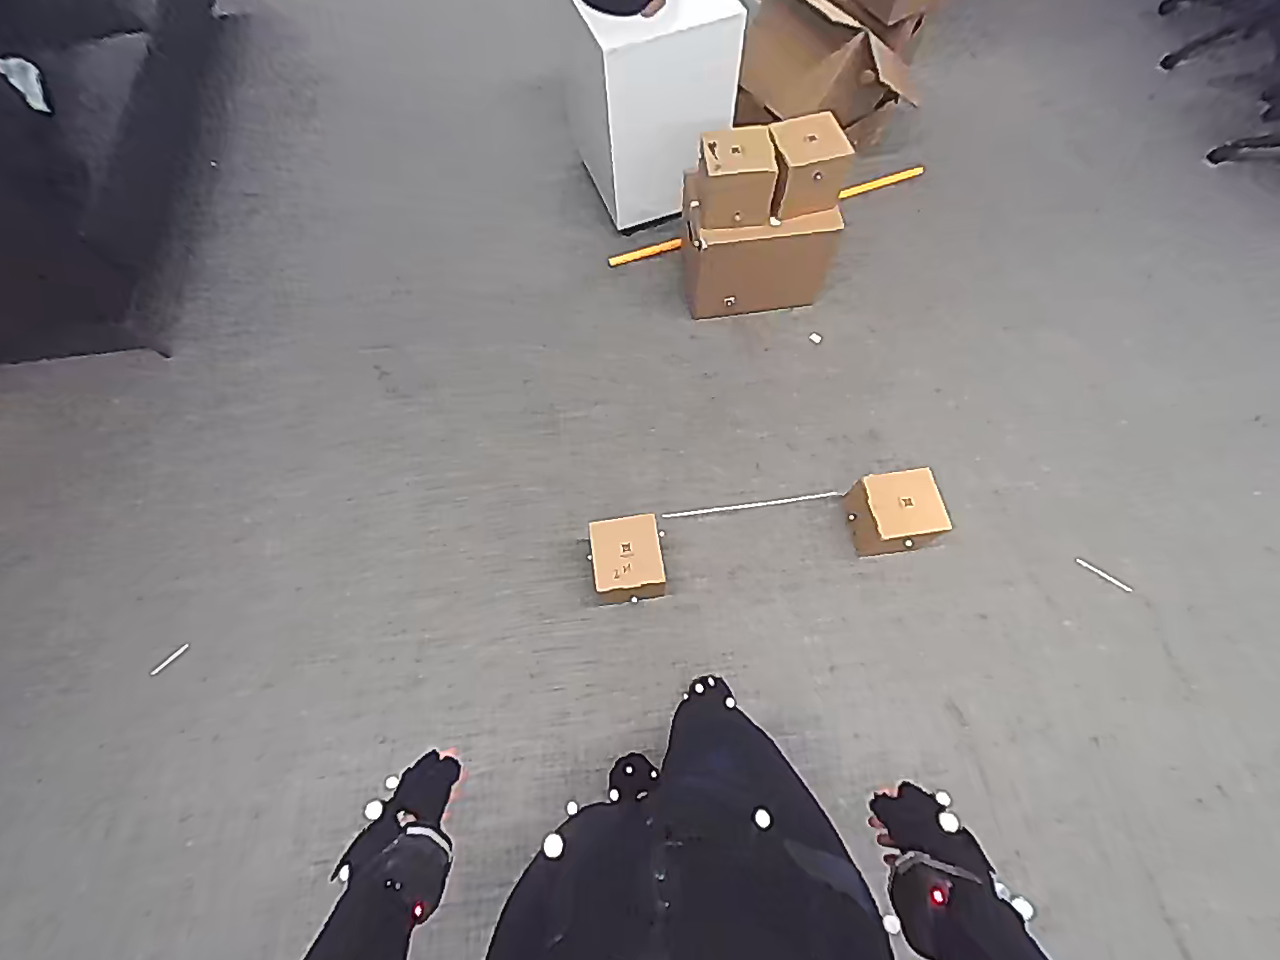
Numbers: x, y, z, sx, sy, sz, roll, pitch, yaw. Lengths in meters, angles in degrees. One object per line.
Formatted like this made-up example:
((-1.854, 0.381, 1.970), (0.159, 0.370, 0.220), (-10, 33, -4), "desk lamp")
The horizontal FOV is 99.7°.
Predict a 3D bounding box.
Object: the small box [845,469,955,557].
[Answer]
((0.650, 0.088, 1.373), (0.179, 0.176, 0.168), (-9, 68, -1), "small box")

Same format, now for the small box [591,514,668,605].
((-0.026, 0.203, 1.351), (0.168, 0.176, 0.179), (-9, 67, -1), "small box")
